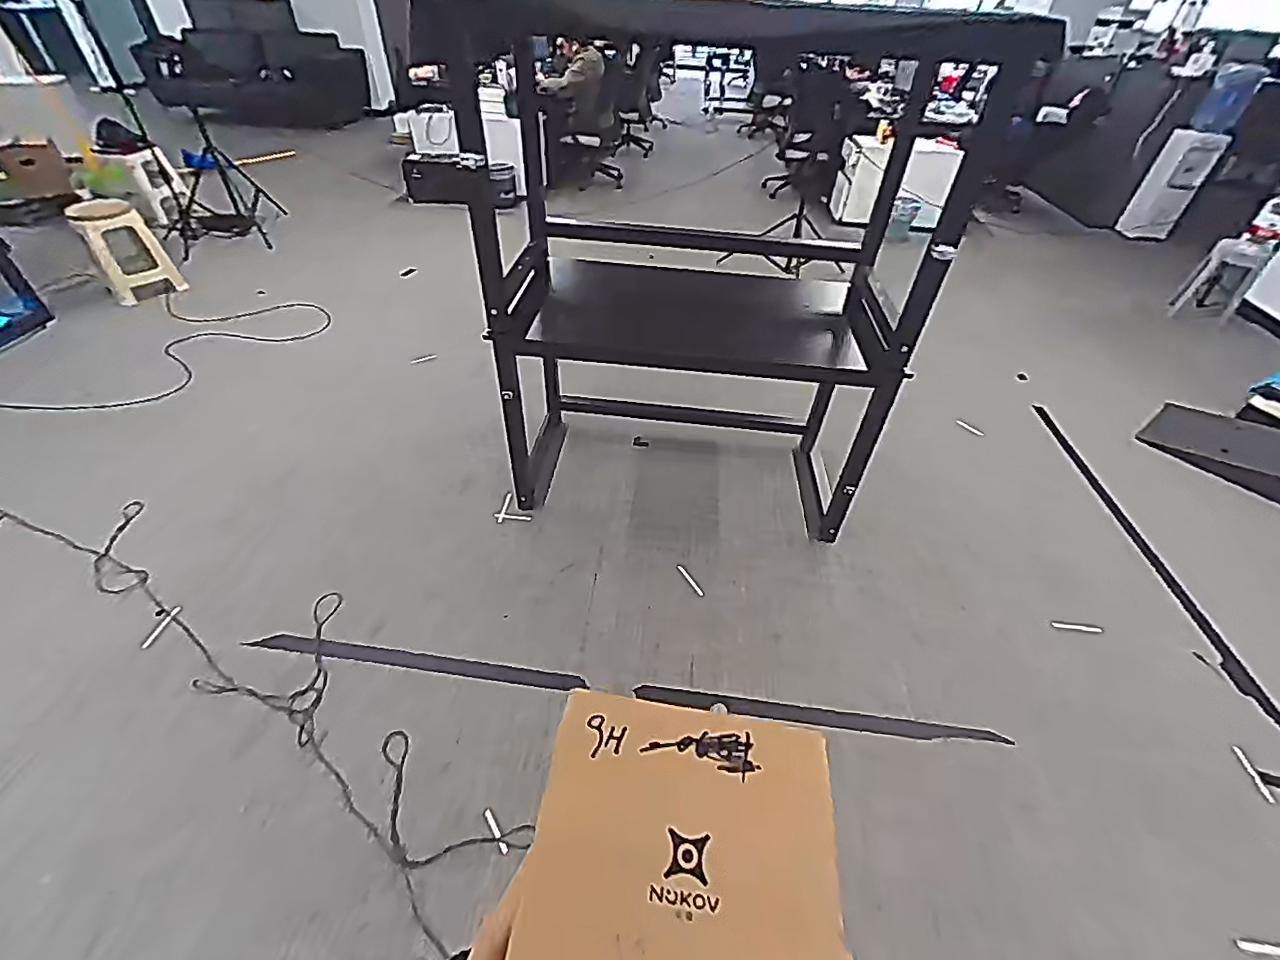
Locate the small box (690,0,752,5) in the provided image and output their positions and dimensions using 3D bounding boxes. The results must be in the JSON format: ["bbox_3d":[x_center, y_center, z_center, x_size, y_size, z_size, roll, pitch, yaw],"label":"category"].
[{"bbox_3d":[0.151,-1.045,1.053,0.168,0.176,0.179,6,41,3],"label":"small box"}]

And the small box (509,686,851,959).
[{"bbox_3d":[0.018,0.258,0.338,0.168,0.176,0.179,10,48,1],"label":"small box"}]
